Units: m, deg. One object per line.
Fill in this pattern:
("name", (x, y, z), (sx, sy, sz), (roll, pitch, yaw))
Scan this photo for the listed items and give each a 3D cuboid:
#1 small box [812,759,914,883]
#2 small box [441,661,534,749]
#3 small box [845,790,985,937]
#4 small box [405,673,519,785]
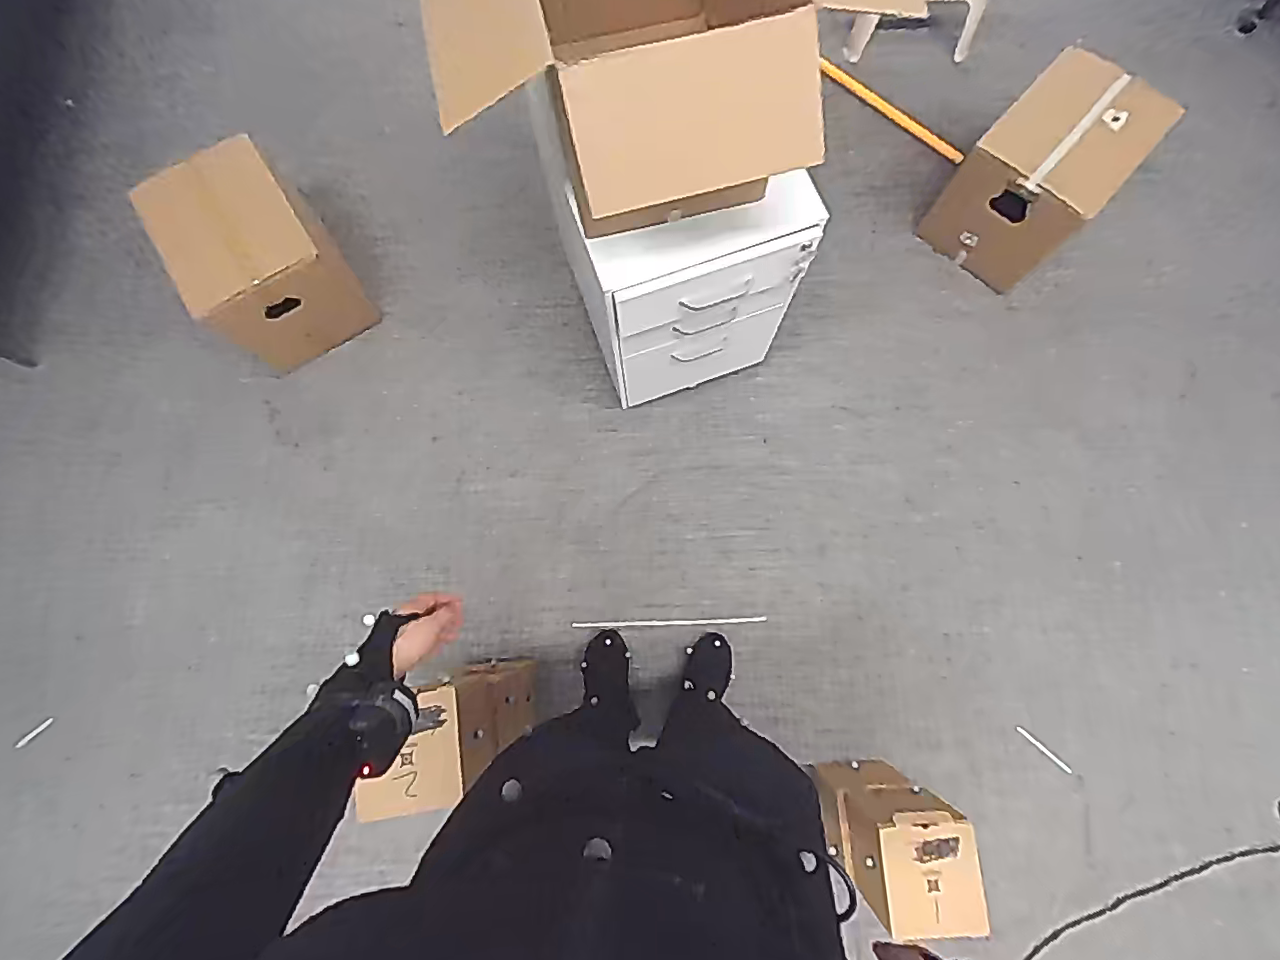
("small box", (0.480, 0.722, 1.159), (0.168, 0.176, 0.179), (-4, 77, 0))
("small box", (-0.342, 0.513, 1.239), (0.179, 0.176, 0.168), (-4, 77, 1))
("small box", (0.492, 0.691, 0.998), (0.168, 0.176, 0.179), (-4, 79, 1))
("small box", (-0.346, 0.487, 1.078), (0.179, 0.176, 0.168), (-7, 75, 2))
